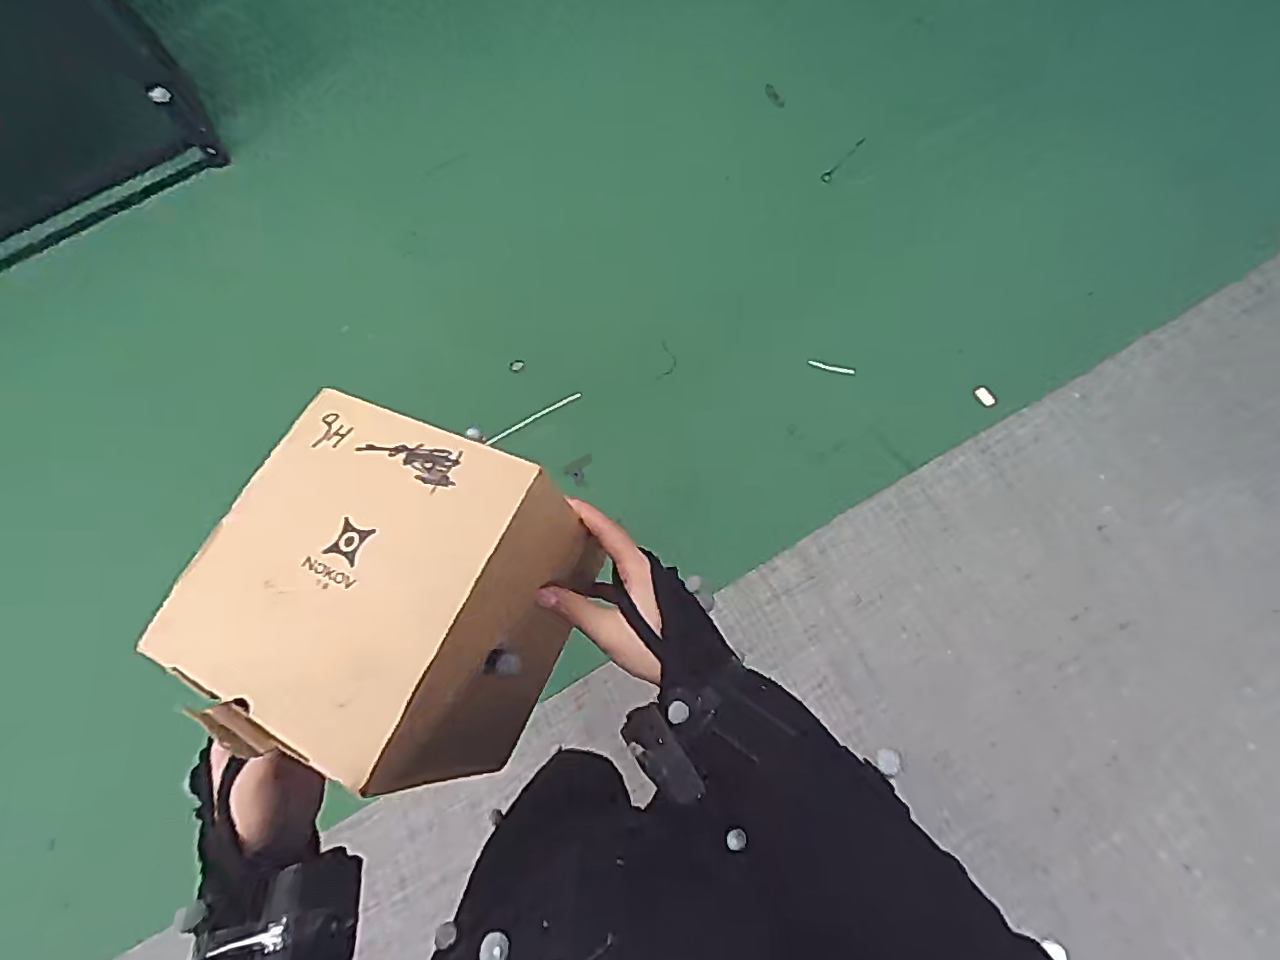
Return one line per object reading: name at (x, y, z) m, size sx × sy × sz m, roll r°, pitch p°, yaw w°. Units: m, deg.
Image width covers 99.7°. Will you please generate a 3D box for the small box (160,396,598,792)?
small box at (-0.146, 0.076, 0.370) m, size 0.168 × 0.176 × 0.179 m, roll 20°, pitch 72°, yaw 18°
